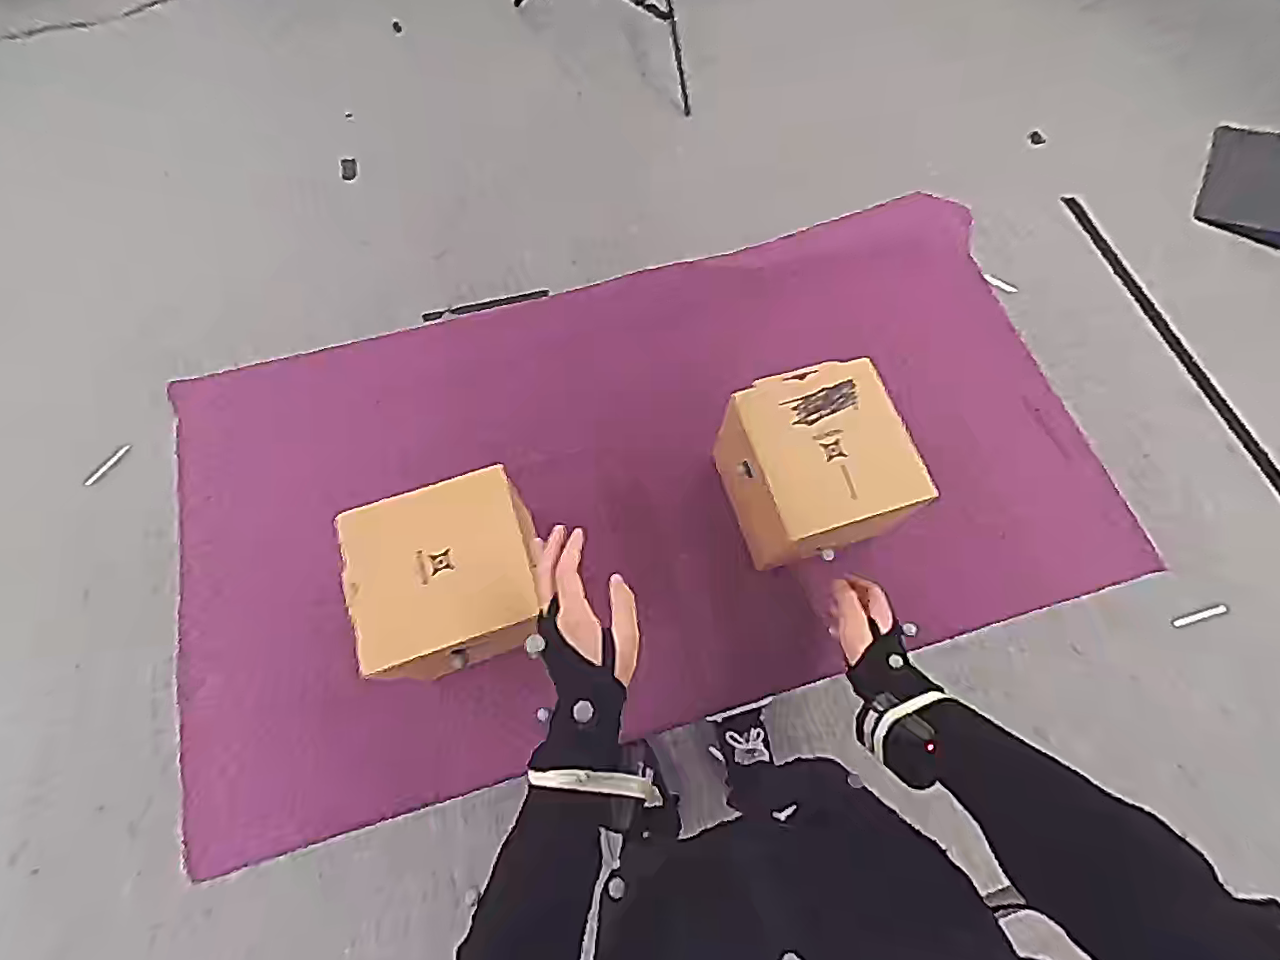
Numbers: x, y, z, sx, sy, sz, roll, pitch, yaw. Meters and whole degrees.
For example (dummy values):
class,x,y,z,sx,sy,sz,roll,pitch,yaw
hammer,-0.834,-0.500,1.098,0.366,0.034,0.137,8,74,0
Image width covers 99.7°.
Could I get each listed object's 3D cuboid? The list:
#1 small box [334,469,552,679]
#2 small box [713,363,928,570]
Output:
class,x,y,z,sx,sy,sz,roll,pitch,yaw
small box,-0.205,0.111,0.610,0.179,0.176,0.168,-19,71,-6
small box,0.197,-0.008,0.654,0.168,0.176,0.179,-16,71,-6
